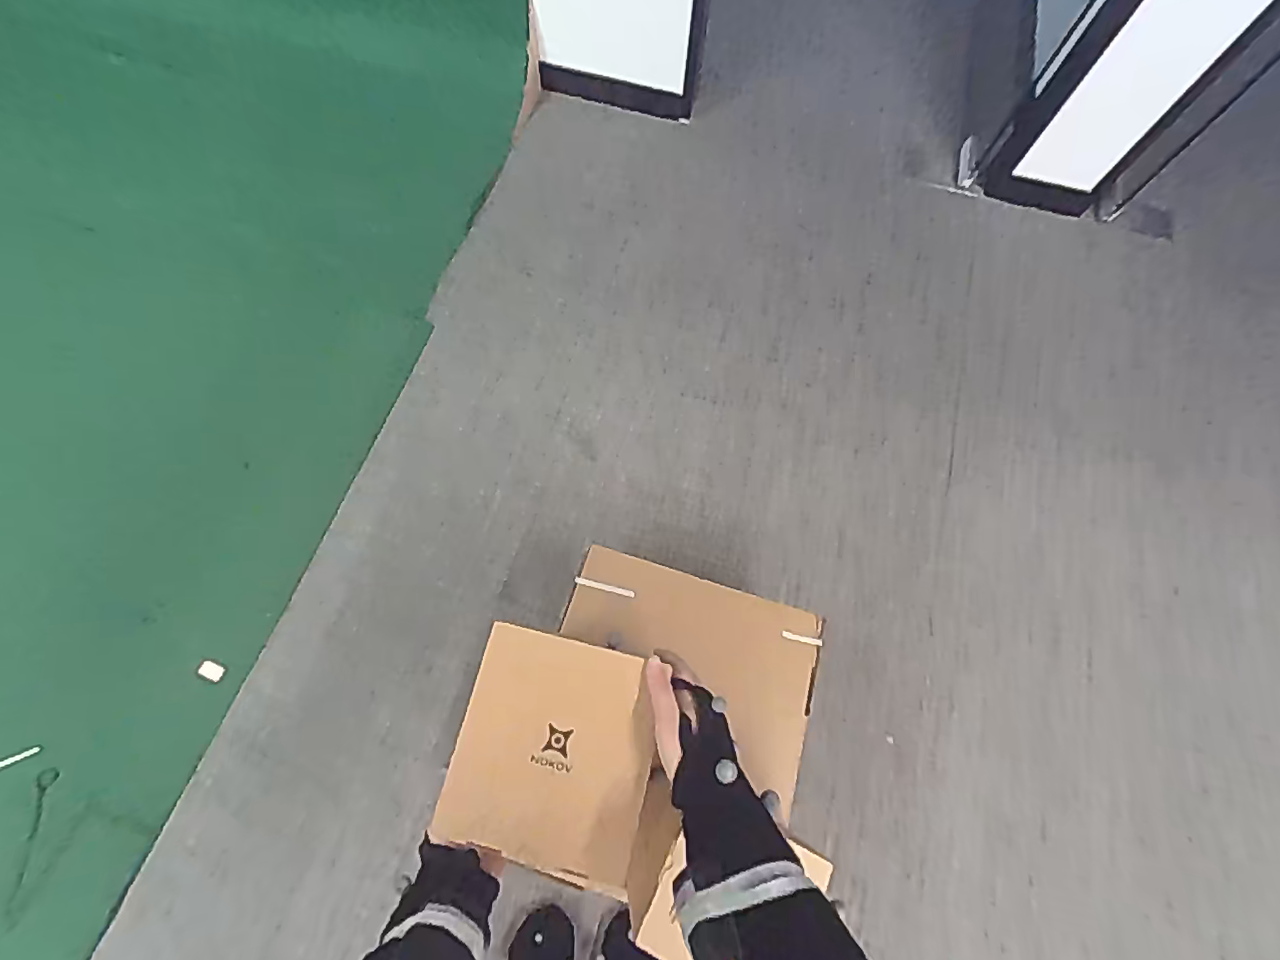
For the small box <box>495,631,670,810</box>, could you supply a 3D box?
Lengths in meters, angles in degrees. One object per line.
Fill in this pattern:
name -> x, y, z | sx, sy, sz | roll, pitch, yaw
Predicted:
small box -> -0.070, 0.318, 0.735 | 0.179, 0.176, 0.168 | 16, 68, 4
